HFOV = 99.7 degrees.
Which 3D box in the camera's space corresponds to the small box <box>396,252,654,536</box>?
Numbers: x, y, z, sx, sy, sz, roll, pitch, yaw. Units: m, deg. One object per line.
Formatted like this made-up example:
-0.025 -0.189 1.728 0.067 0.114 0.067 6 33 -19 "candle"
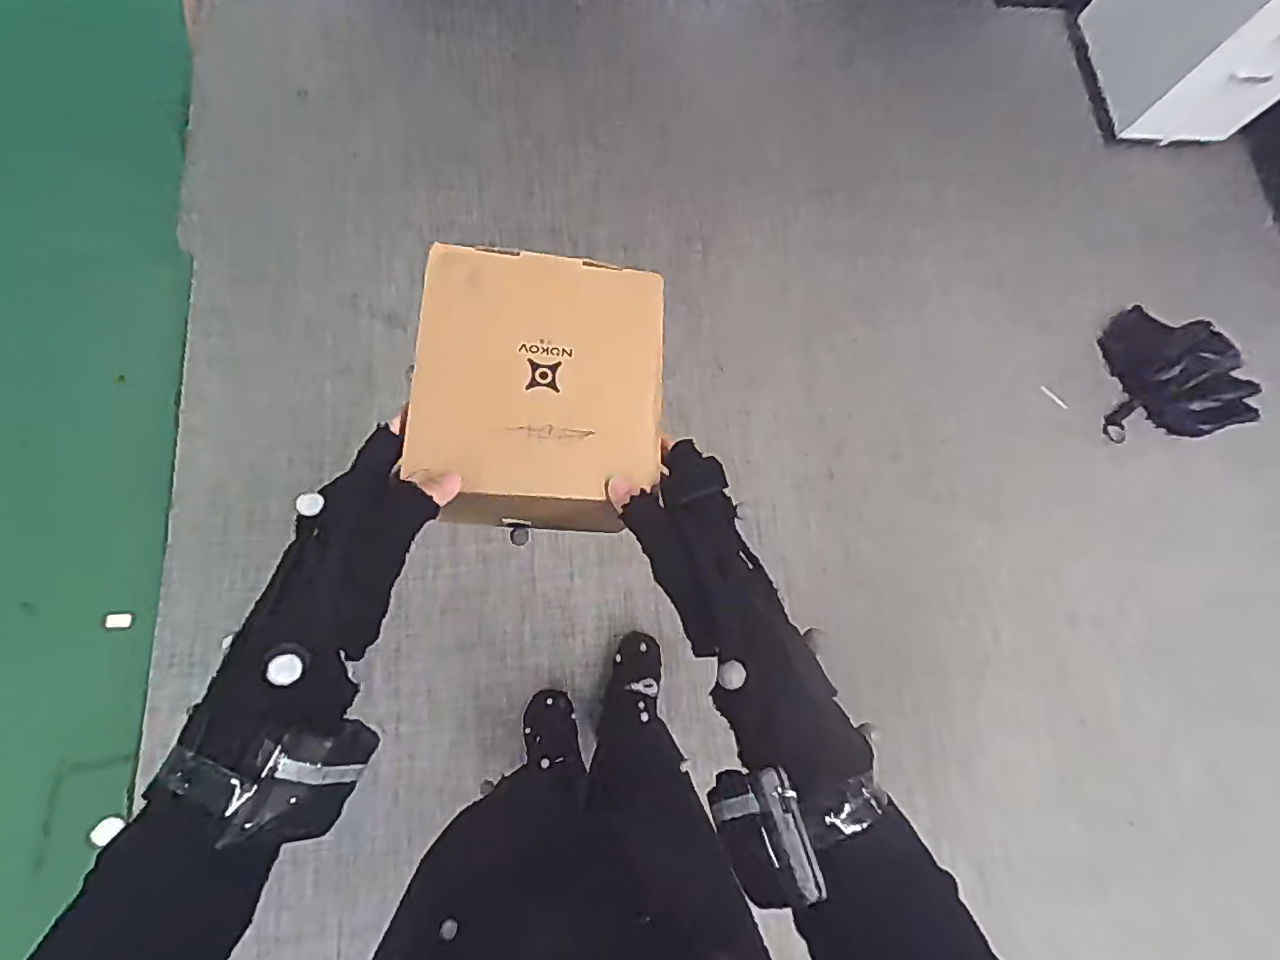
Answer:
-0.086 -0.053 0.448 0.168 0.176 0.179 3 78 -9 "small box"
